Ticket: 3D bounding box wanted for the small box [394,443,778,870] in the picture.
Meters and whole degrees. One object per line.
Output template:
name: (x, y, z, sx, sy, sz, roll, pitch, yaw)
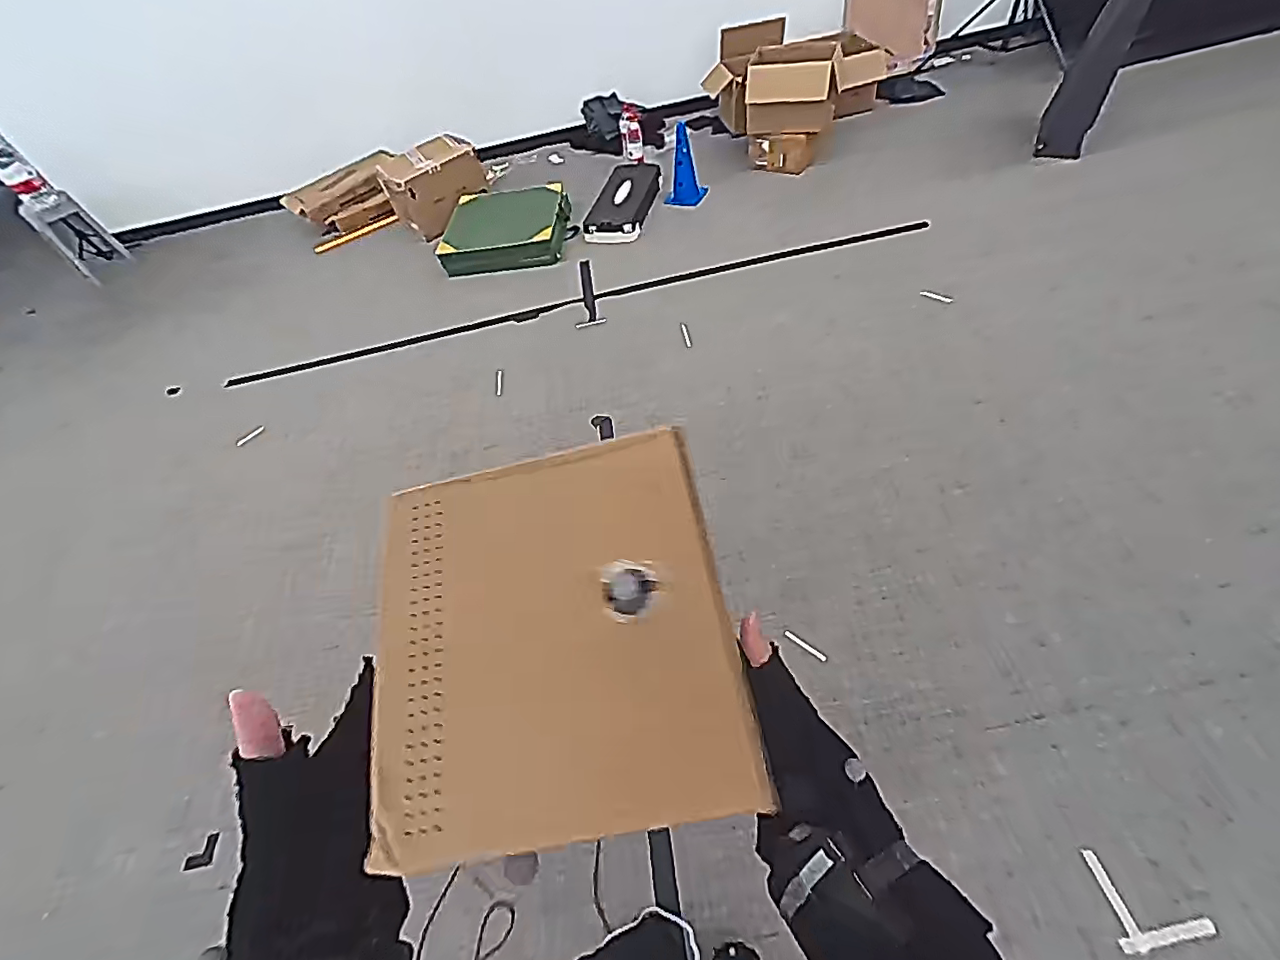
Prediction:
small box: (-0.028, 0.106, 0.329, 0.176, 0.168, 0.179, -13, 62, 4)
